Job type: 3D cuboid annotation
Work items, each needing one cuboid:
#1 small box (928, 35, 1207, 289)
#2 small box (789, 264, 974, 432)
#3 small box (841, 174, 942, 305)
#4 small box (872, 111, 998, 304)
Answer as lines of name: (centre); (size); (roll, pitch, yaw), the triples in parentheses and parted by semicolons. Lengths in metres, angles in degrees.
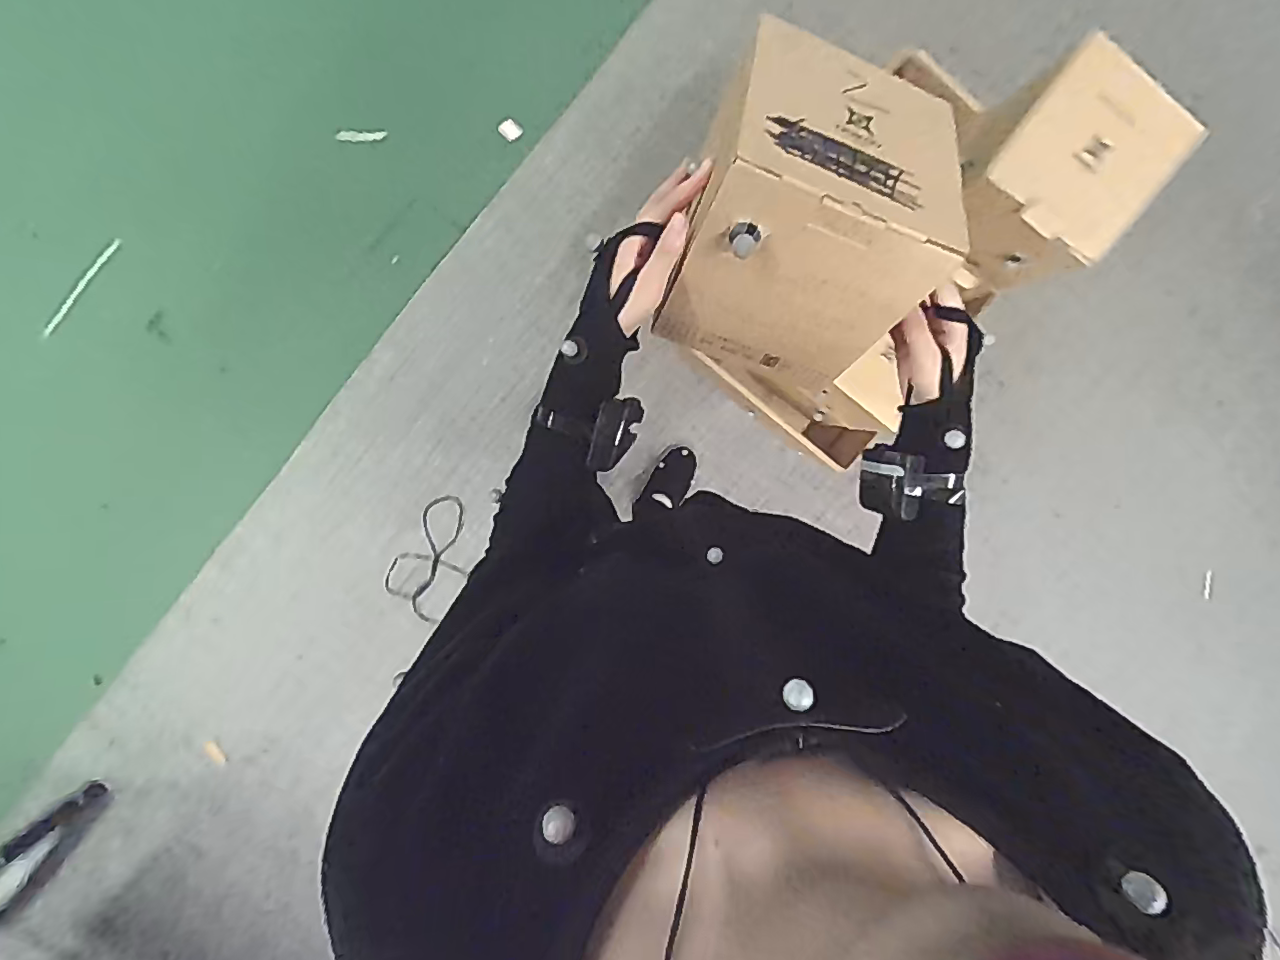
small box: (0.490, -0.360, 0.658); (0.168, 0.176, 0.179); (37, 97, -6)
small box: (0.354, -0.192, 0.837); (0.168, 0.176, 0.179); (37, 94, -6)
small box: (0.491, -0.417, 0.979); (0.168, 0.176, 0.179); (35, 98, -6)
small box: (0.483, -0.390, 0.817); (0.168, 0.176, 0.179); (34, 97, -5)
